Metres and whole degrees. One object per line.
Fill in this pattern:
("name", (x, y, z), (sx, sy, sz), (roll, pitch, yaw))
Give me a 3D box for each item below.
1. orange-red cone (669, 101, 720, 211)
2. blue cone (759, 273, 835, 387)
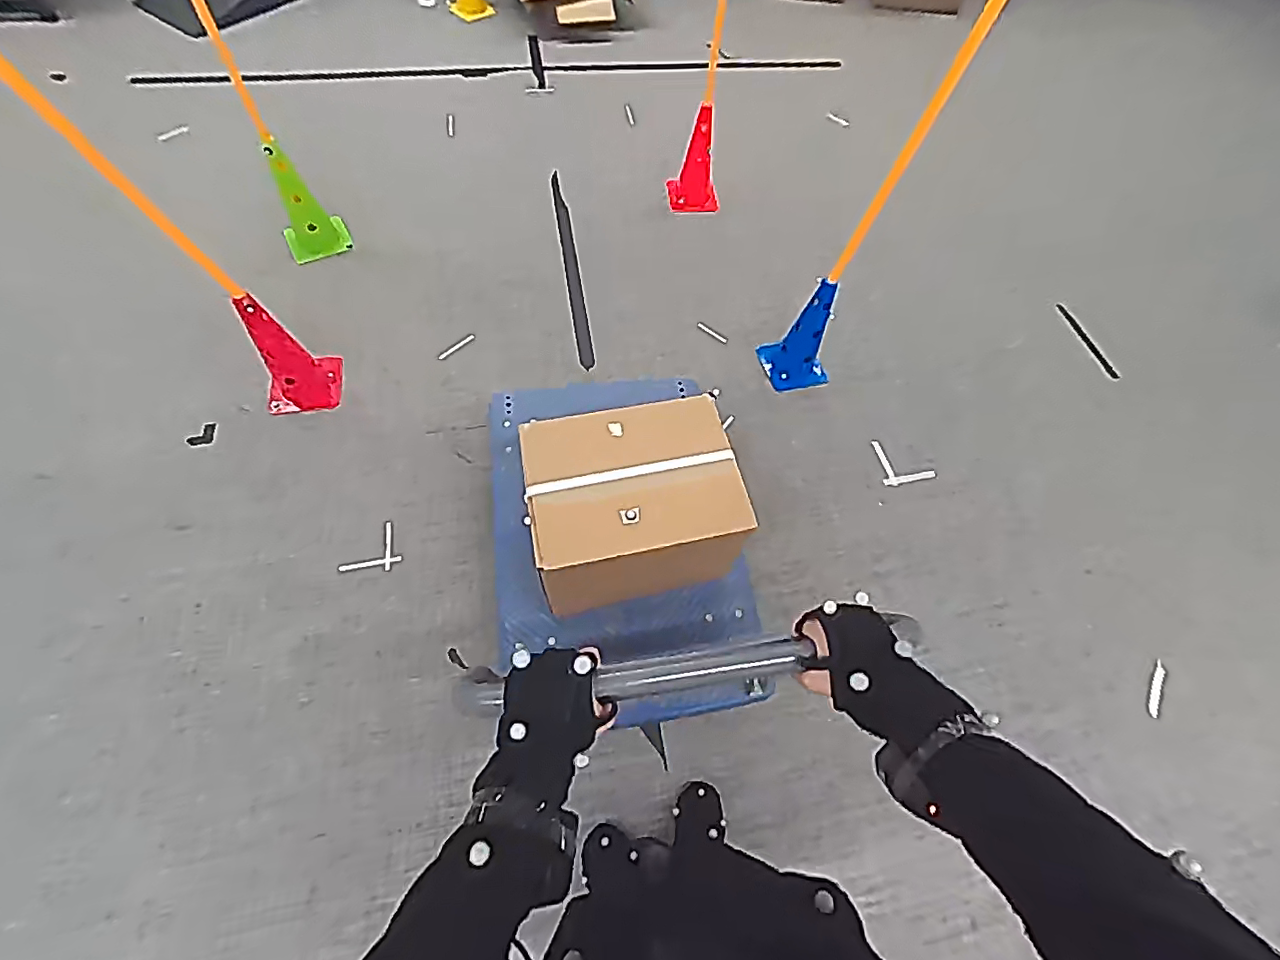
("orange-red cone", (0.237, -1.251, 2.068), (0.199, 0.360, 0.198), (-1, 62, -6))
("blue cone", (0.528, -0.476, 1.688), (0.193, 0.380, 0.192), (-11, 62, -11))
